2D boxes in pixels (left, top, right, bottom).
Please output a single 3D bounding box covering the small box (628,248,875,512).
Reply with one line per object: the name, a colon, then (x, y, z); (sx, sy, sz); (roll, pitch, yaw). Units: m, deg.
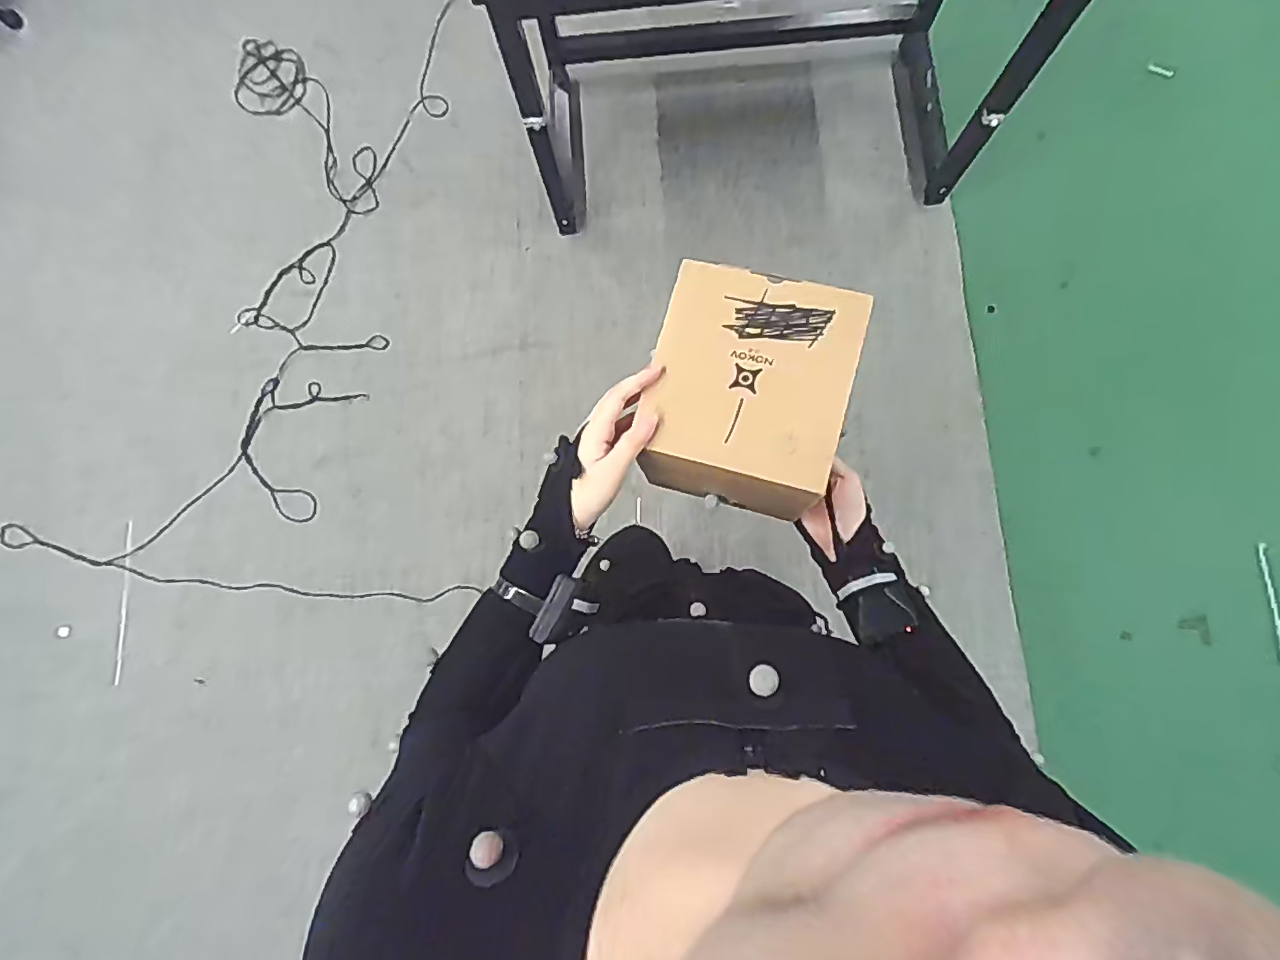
small box: (0.100, -0.082, 0.515); (0.168, 0.176, 0.179); (15, 81, 11)
